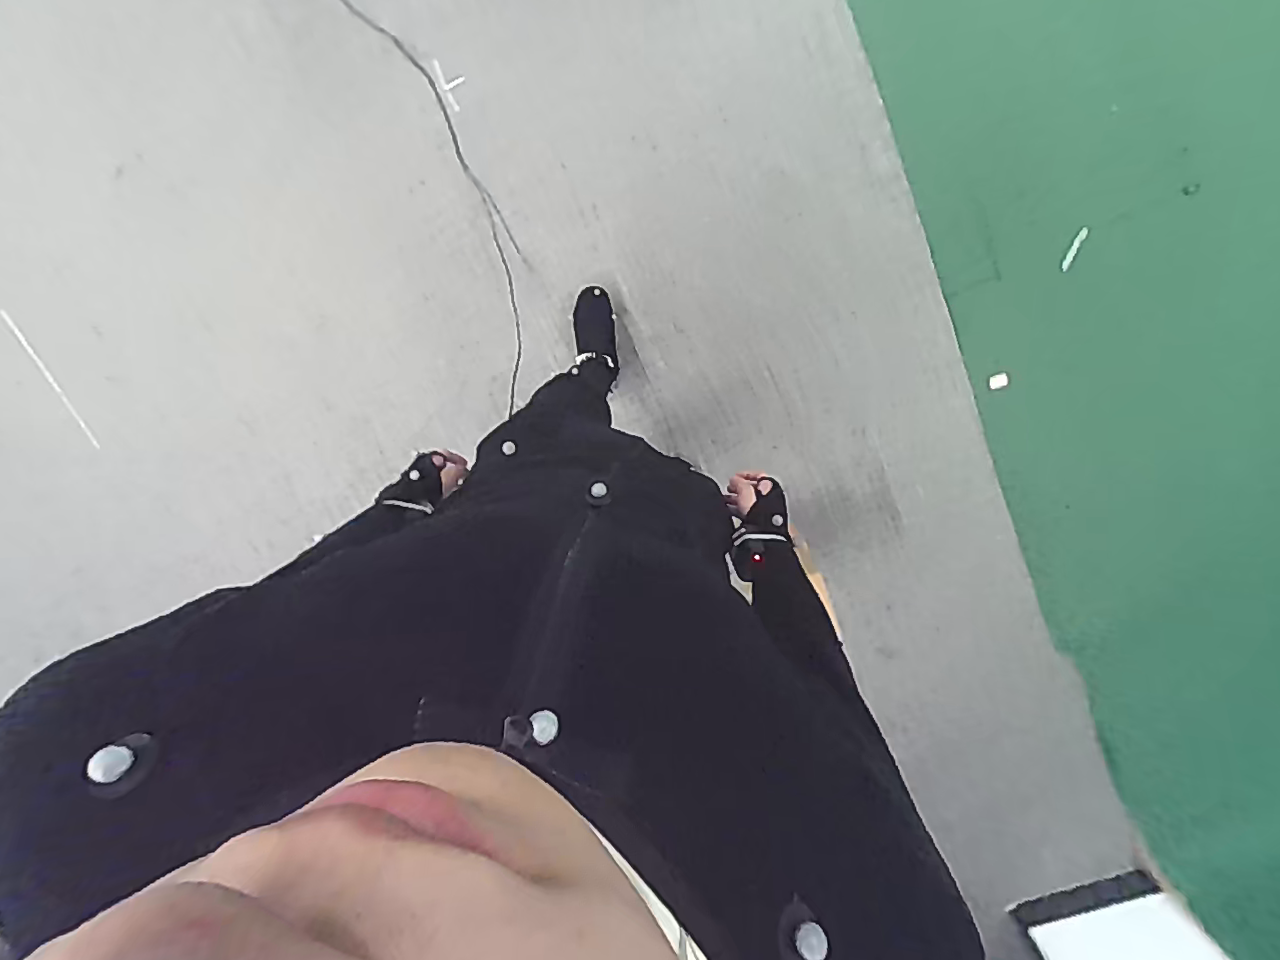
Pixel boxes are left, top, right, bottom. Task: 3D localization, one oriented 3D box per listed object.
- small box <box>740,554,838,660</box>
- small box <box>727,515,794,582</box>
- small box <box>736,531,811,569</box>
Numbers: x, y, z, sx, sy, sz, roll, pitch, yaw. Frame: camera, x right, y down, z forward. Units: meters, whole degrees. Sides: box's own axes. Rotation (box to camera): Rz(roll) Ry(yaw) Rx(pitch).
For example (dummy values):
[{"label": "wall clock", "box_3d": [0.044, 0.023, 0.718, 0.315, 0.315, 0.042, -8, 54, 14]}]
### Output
[{"label": "small box", "box_3d": [0.348, 0.293, 1.294, 0.168, 0.176, 0.179, -19, 102, 8]}, {"label": "small box", "box_3d": [0.367, 0.217, 1.596, 0.179, 0.176, 0.168, -18, 101, 7]}, {"label": "small box", "box_3d": [0.362, 0.249, 1.436, 0.168, 0.176, 0.179, -18, 100, 7]}]
